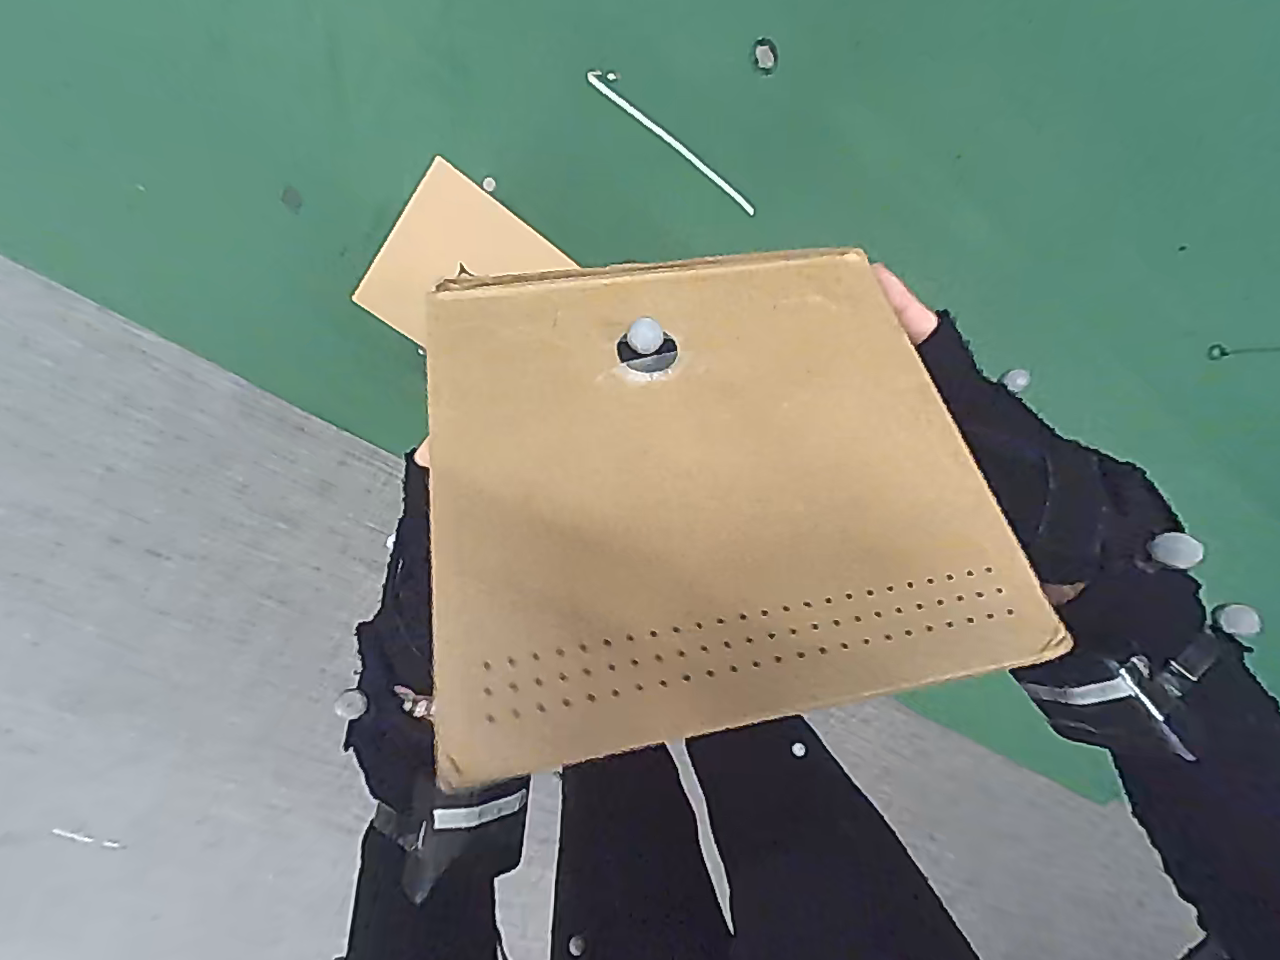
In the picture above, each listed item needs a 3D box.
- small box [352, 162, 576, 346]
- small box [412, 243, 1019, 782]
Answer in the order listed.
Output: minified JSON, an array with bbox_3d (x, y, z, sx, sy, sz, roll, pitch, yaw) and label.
[{"bbox_3d":[-0.189,-0.222,0.631,0.179,0.176,0.168,34,100,-19],"label":"small box"},{"bbox_3d":[0.013,0.025,0.246,0.179,0.168,0.176,-9,65,-8],"label":"small box"}]
